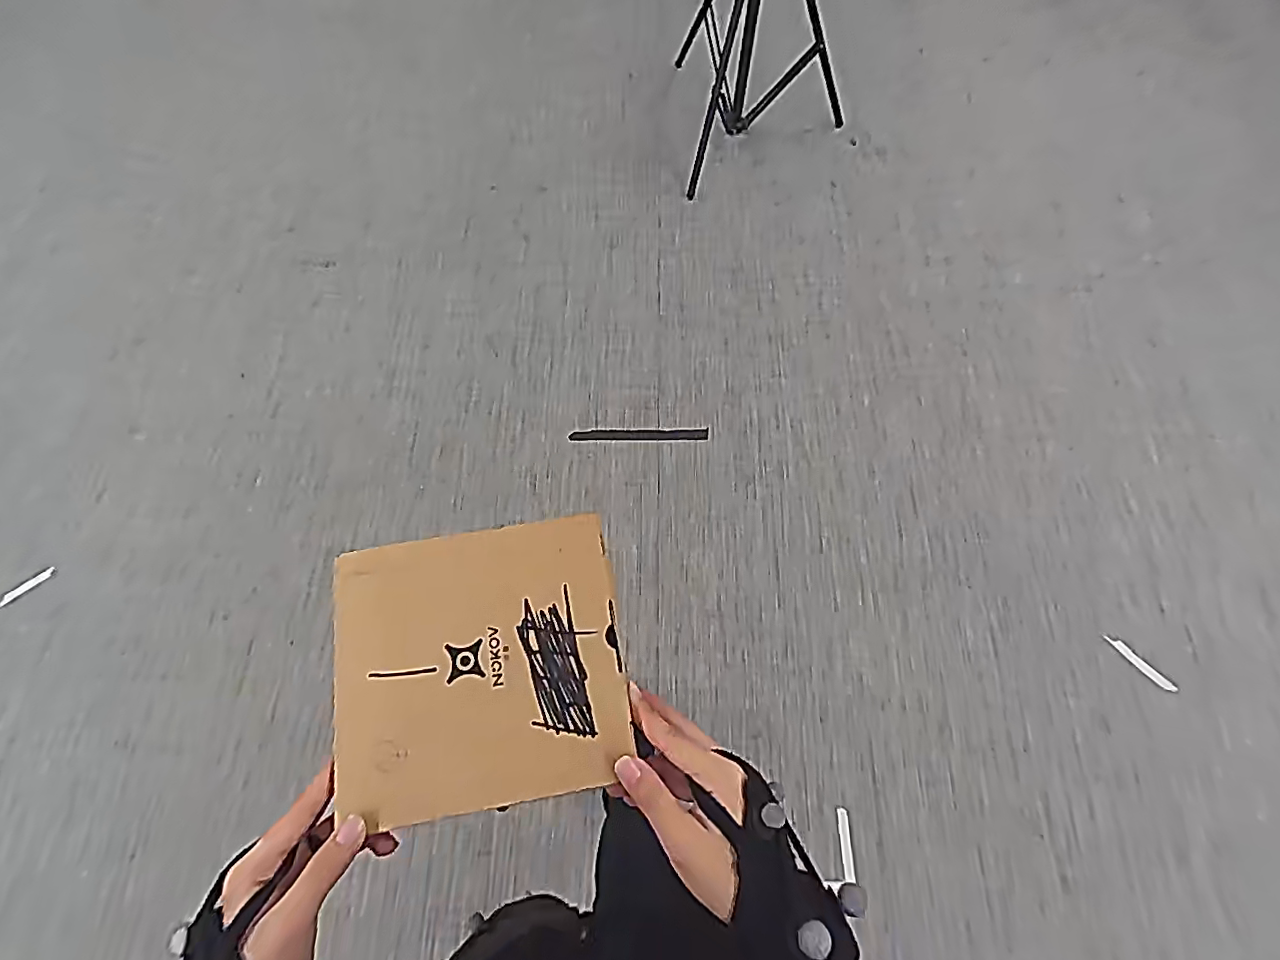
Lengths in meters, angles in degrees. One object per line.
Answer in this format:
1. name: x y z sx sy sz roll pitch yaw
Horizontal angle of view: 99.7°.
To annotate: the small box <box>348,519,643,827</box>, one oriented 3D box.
1. small box: -0.100 0.138 0.421 0.179 0.176 0.168 -9 72 -5
